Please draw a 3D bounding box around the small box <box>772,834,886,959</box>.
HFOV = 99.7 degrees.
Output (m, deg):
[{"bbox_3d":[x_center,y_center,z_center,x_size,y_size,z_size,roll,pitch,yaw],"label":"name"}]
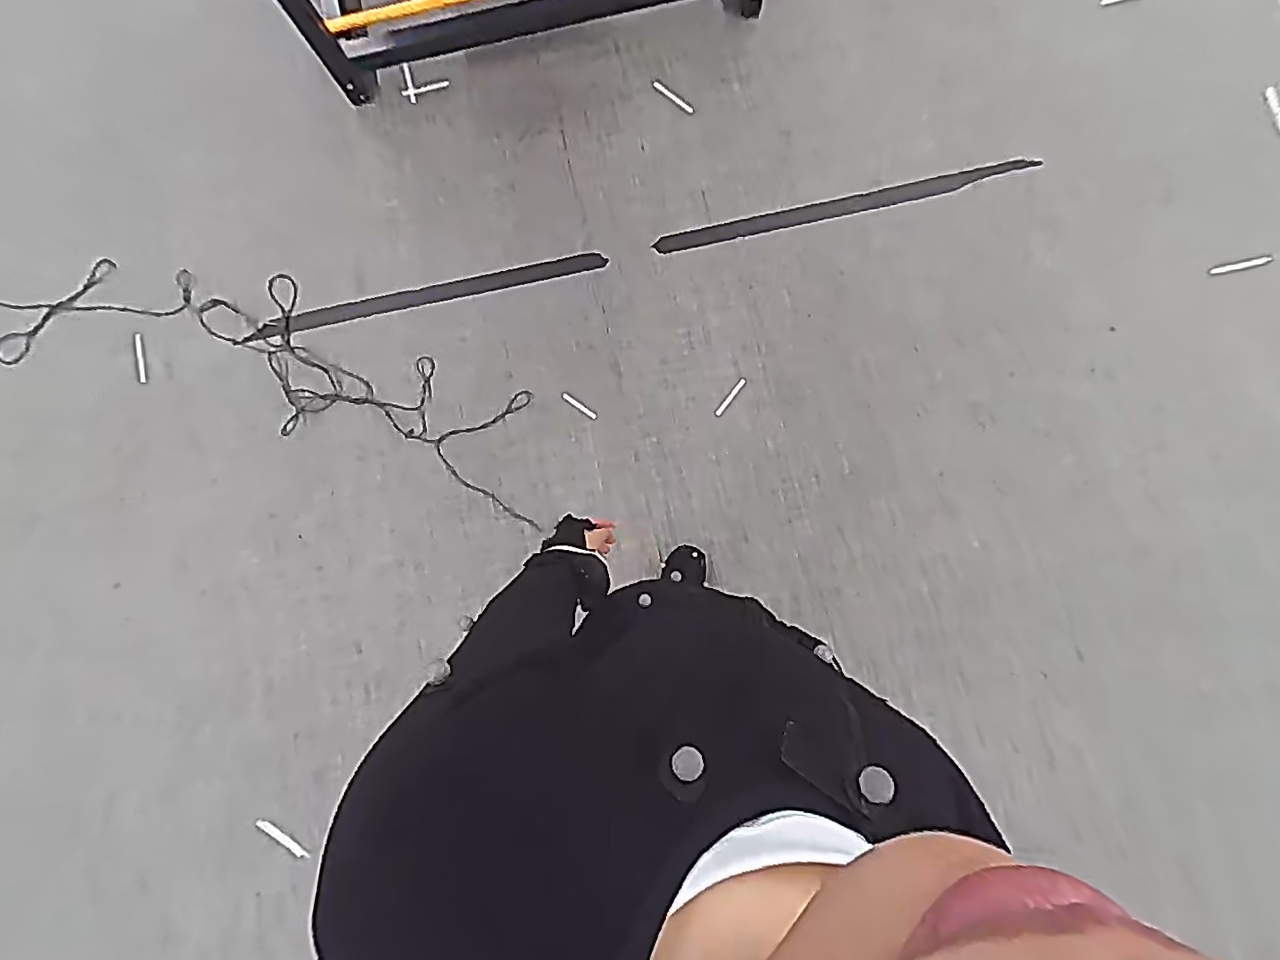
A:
[{"bbox_3d":[0.418,0.941,1.215,0.179,0.176,0.168,-12,84,1],"label":"small box"}]
